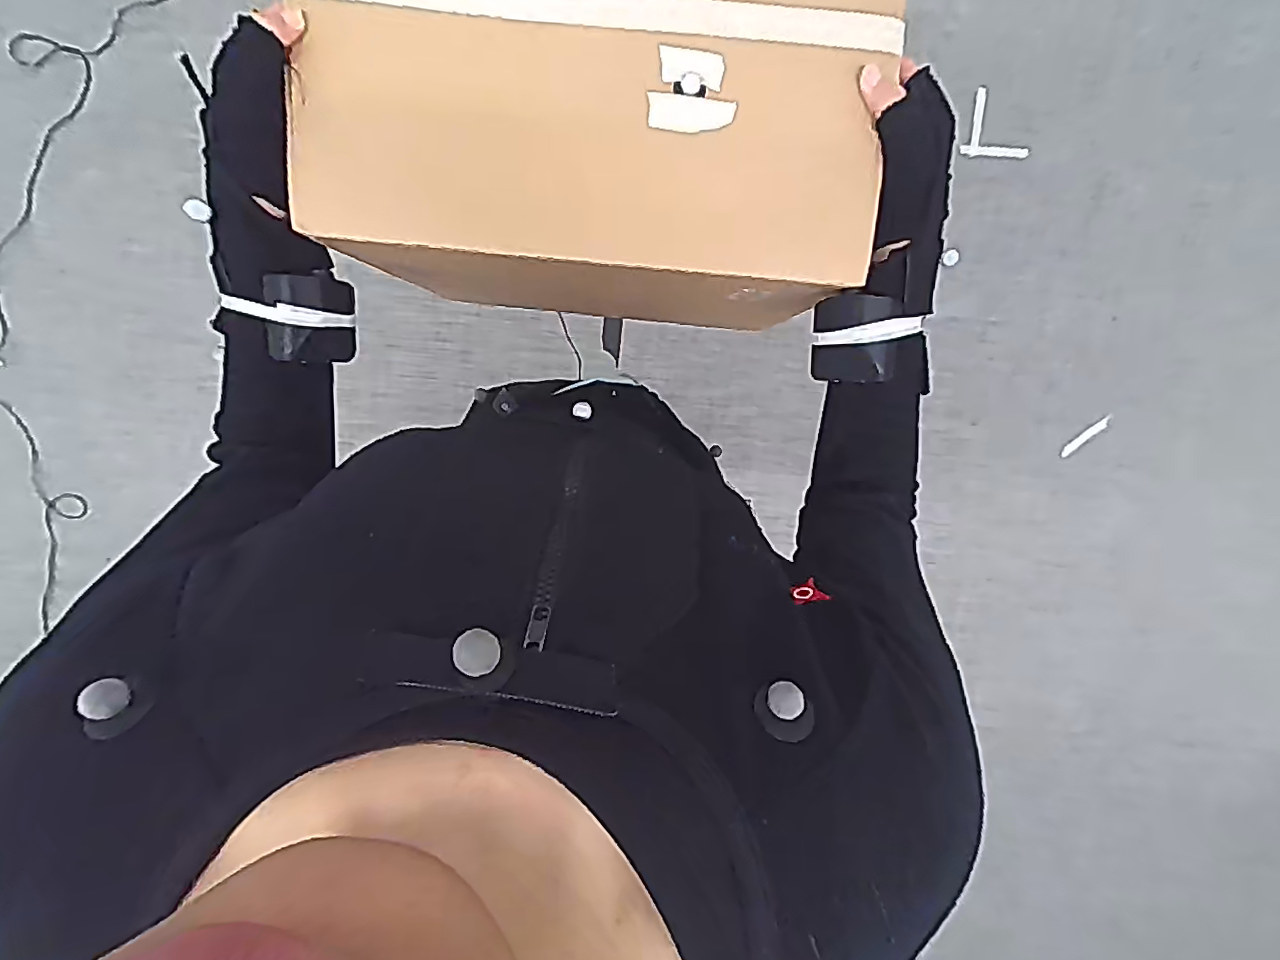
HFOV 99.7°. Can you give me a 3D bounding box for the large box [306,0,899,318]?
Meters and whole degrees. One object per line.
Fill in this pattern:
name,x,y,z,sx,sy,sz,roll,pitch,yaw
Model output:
large box,-0.028,-0.342,0.511,0.408,0.320,0.320,5,101,-2
